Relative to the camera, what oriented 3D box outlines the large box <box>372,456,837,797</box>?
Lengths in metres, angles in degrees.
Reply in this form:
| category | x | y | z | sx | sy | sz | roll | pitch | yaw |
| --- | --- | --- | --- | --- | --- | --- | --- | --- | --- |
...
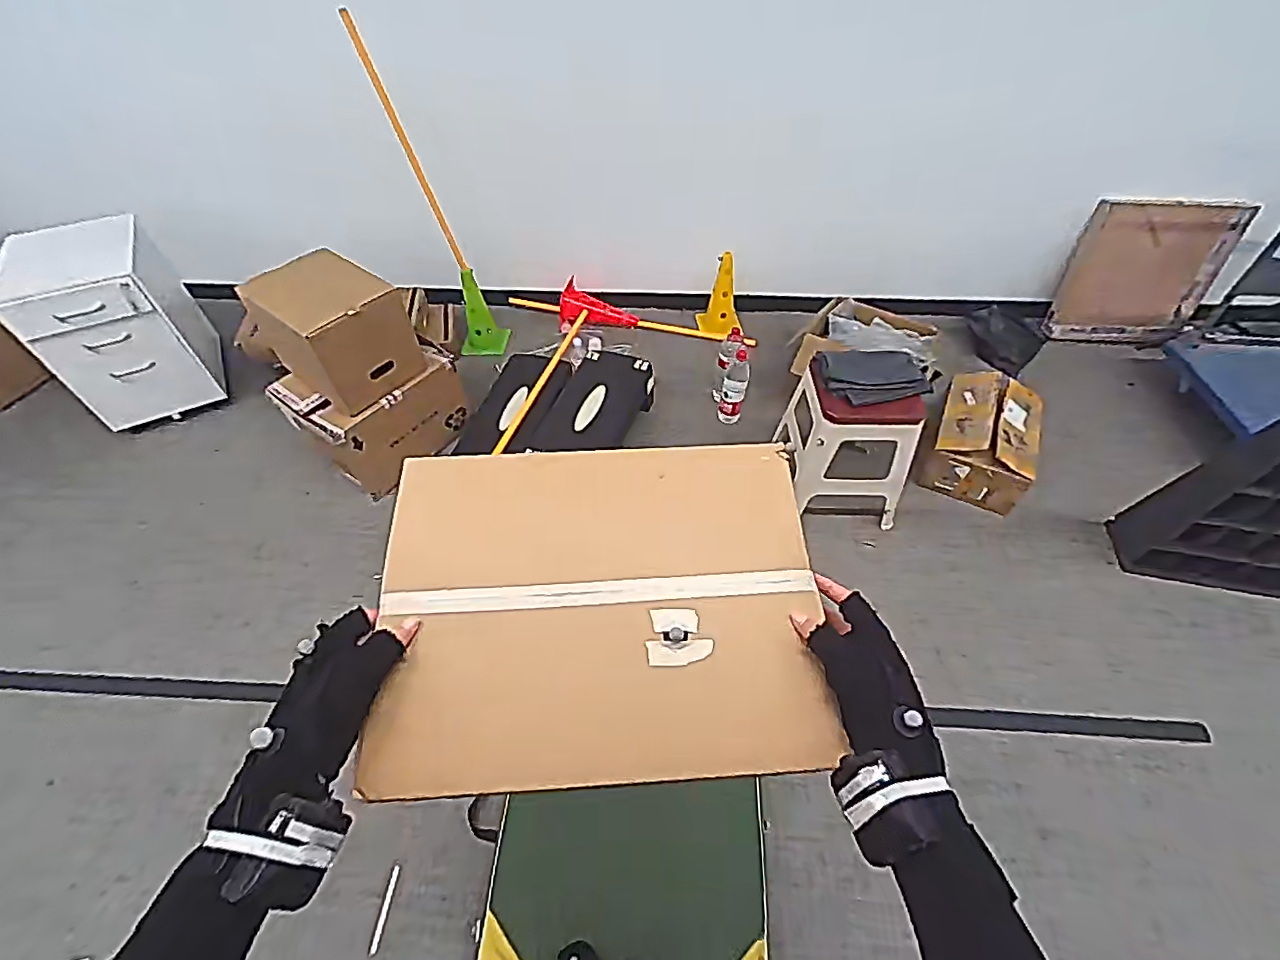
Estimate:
| category | x | y | z | sx | sy | sz | roll | pitch | yaw |
| --- | --- | --- | --- | --- | --- | --- | --- | --- | --- |
| large box | -0.042 | 0.188 | 0.655 | 0.408 | 0.320 | 0.320 | -2 | 61 | -4 |
